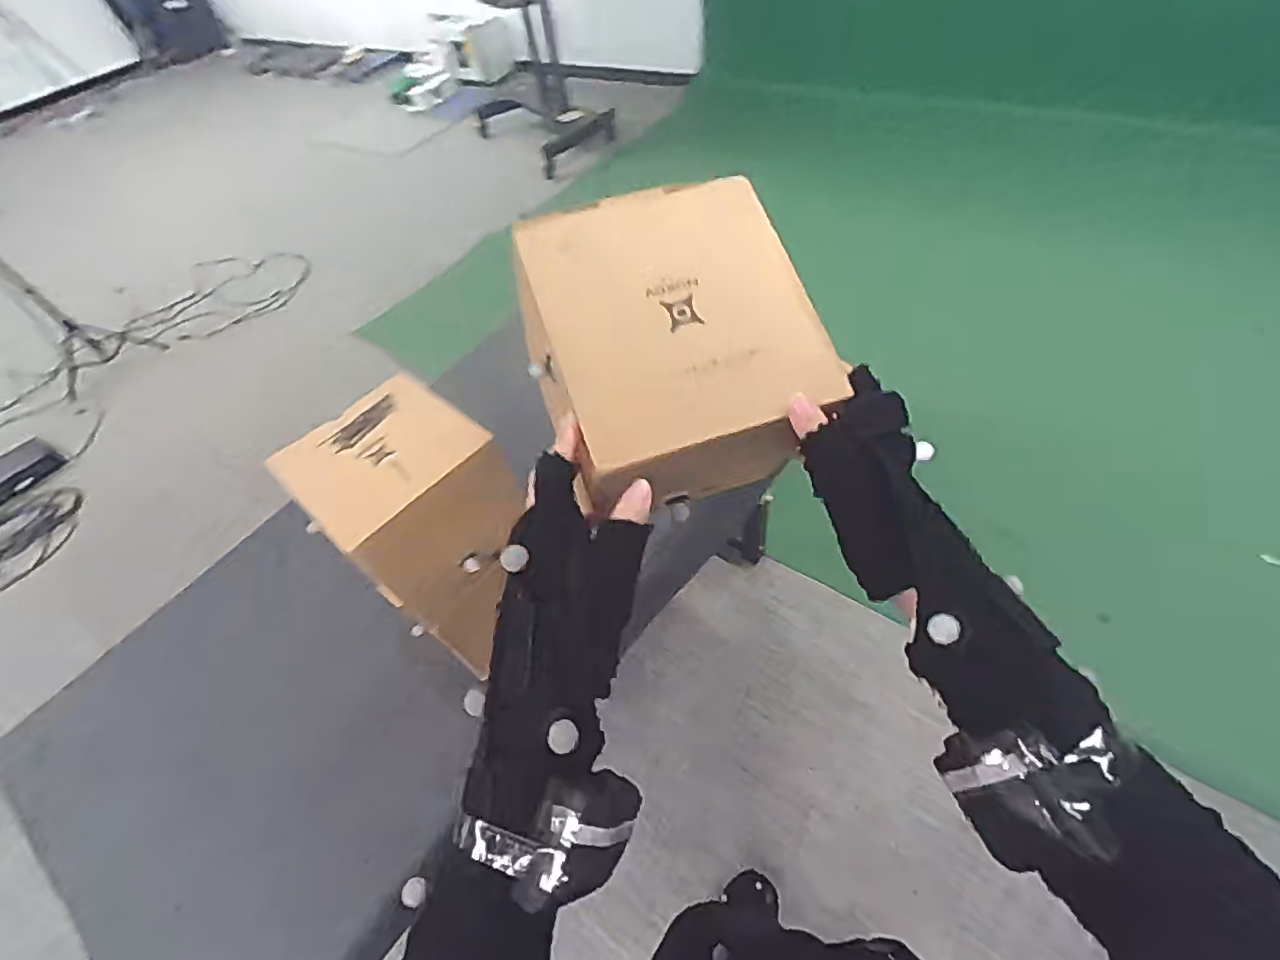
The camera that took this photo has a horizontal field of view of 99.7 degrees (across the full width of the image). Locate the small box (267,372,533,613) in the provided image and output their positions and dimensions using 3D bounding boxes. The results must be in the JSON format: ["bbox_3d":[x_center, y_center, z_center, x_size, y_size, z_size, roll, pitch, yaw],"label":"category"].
[{"bbox_3d":[-0.250,0.016,0.596,0.179,0.176,0.168,28,62,30],"label":"small box"}]

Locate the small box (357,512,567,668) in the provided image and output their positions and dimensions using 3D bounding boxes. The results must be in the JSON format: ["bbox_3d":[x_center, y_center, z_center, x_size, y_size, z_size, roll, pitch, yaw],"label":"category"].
[{"bbox_3d":[-0.223,0.118,0.723,0.168,0.176,0.179,29,63,28],"label":"small box"}]
